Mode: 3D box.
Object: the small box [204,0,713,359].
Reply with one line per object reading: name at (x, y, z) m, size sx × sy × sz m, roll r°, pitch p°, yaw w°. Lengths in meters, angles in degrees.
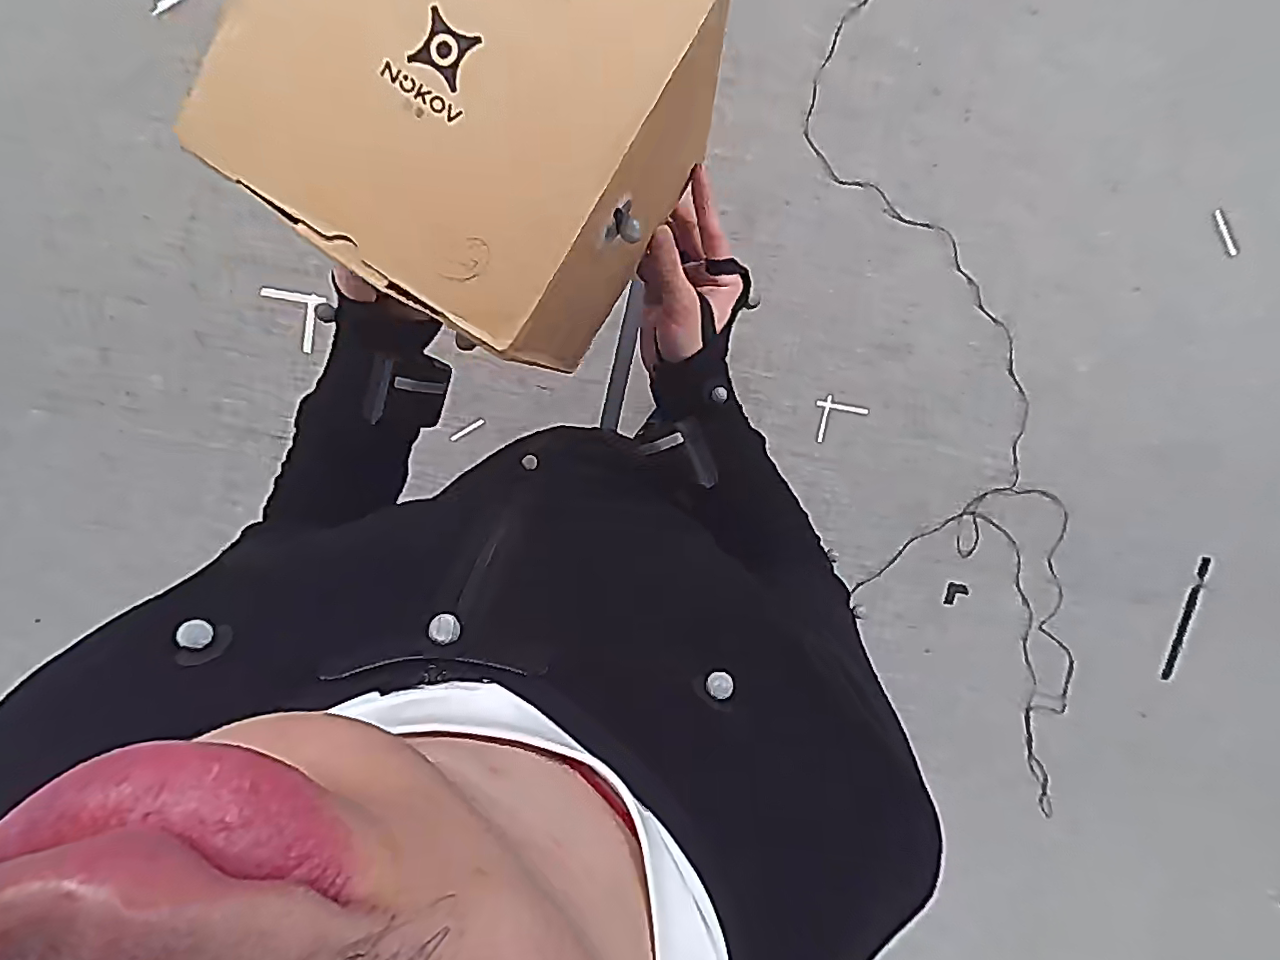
small box at (-0.076, -0.184, 0.306) m, size 0.168 × 0.176 × 0.179 m, roll 32°, pitch 99°, yaw -3°
